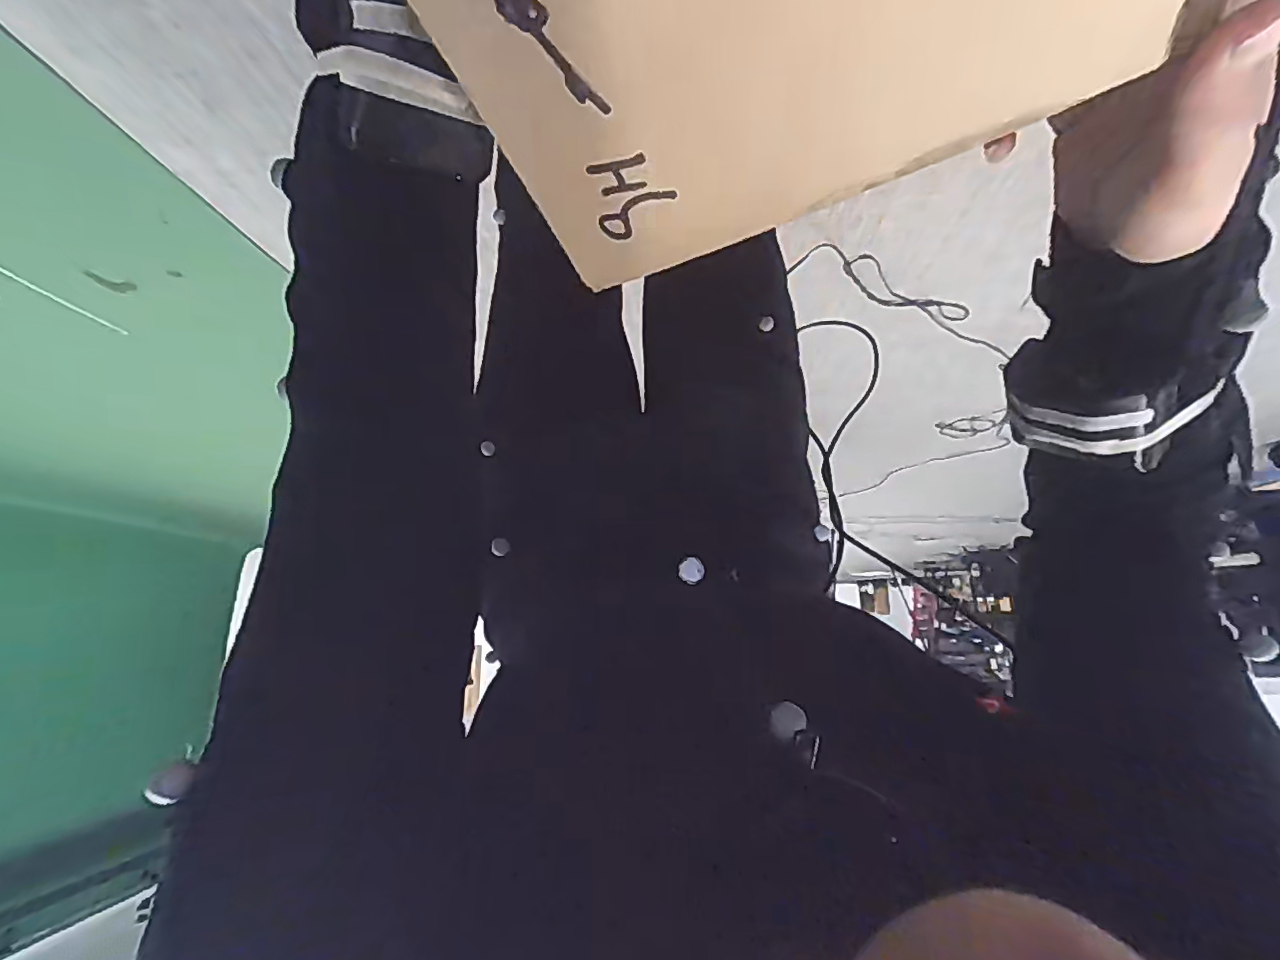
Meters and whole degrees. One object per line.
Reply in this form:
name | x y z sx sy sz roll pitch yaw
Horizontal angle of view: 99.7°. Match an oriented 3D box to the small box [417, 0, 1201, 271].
small box | 0.023 -0.197 0.134 0.179 0.176 0.168 -16 148 17
